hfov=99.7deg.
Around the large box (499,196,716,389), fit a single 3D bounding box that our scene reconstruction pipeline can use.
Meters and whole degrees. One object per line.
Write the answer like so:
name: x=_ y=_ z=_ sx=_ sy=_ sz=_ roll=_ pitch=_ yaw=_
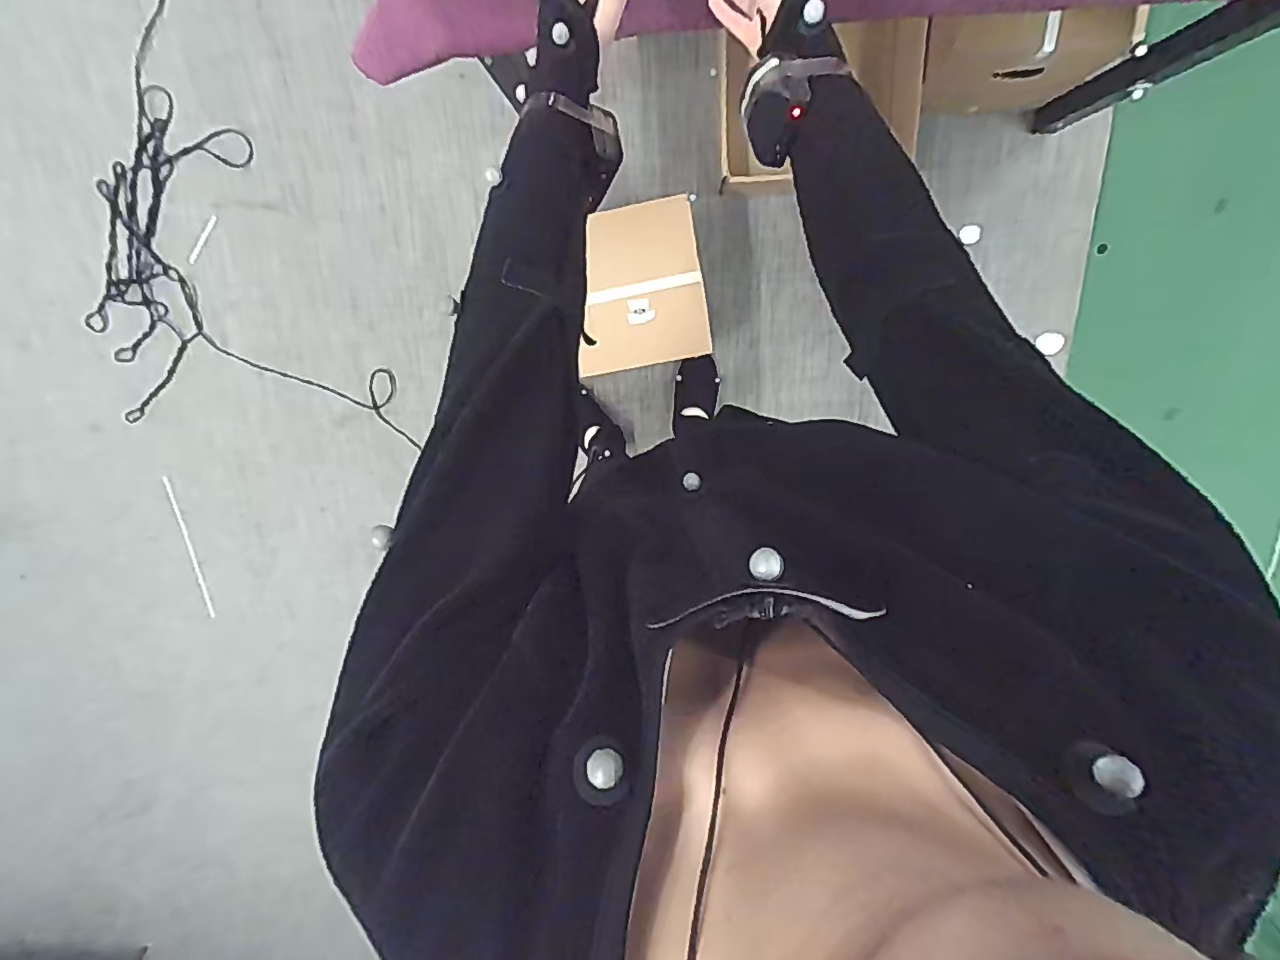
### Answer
large box: x=-0.058 y=-0.411 z=1.246 sx=0.408 sy=0.320 sz=0.320 roll=-9 pitch=105 yaw=5
